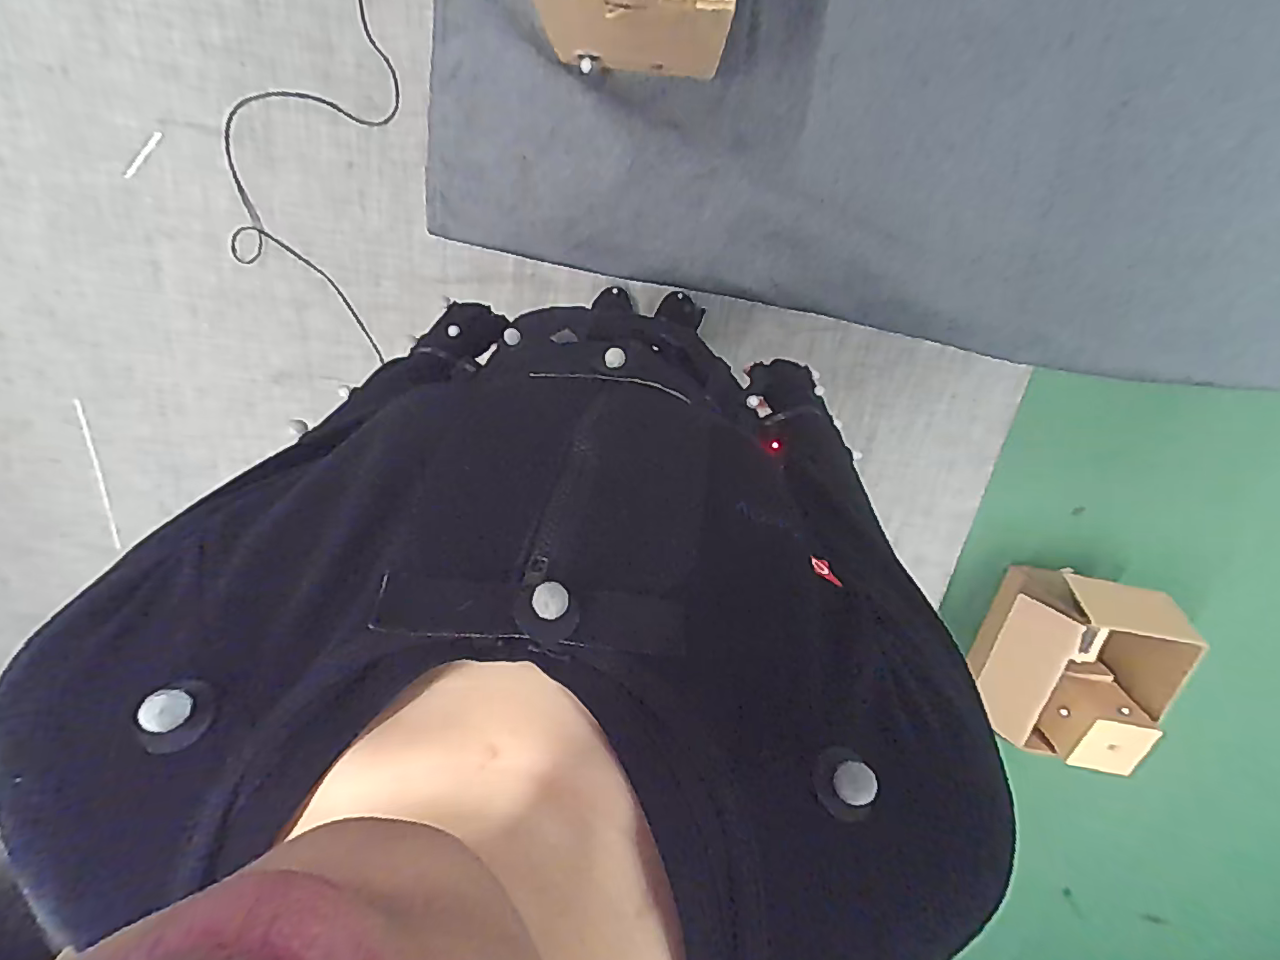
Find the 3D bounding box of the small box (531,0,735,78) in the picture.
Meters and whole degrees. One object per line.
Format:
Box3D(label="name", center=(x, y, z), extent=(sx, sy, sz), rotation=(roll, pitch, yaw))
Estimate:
Box3D(label="small box", center=(0.004, -0.476, 0.462), extent=(0.168, 0.176, 0.179), rotation=(5, 110, -1))
